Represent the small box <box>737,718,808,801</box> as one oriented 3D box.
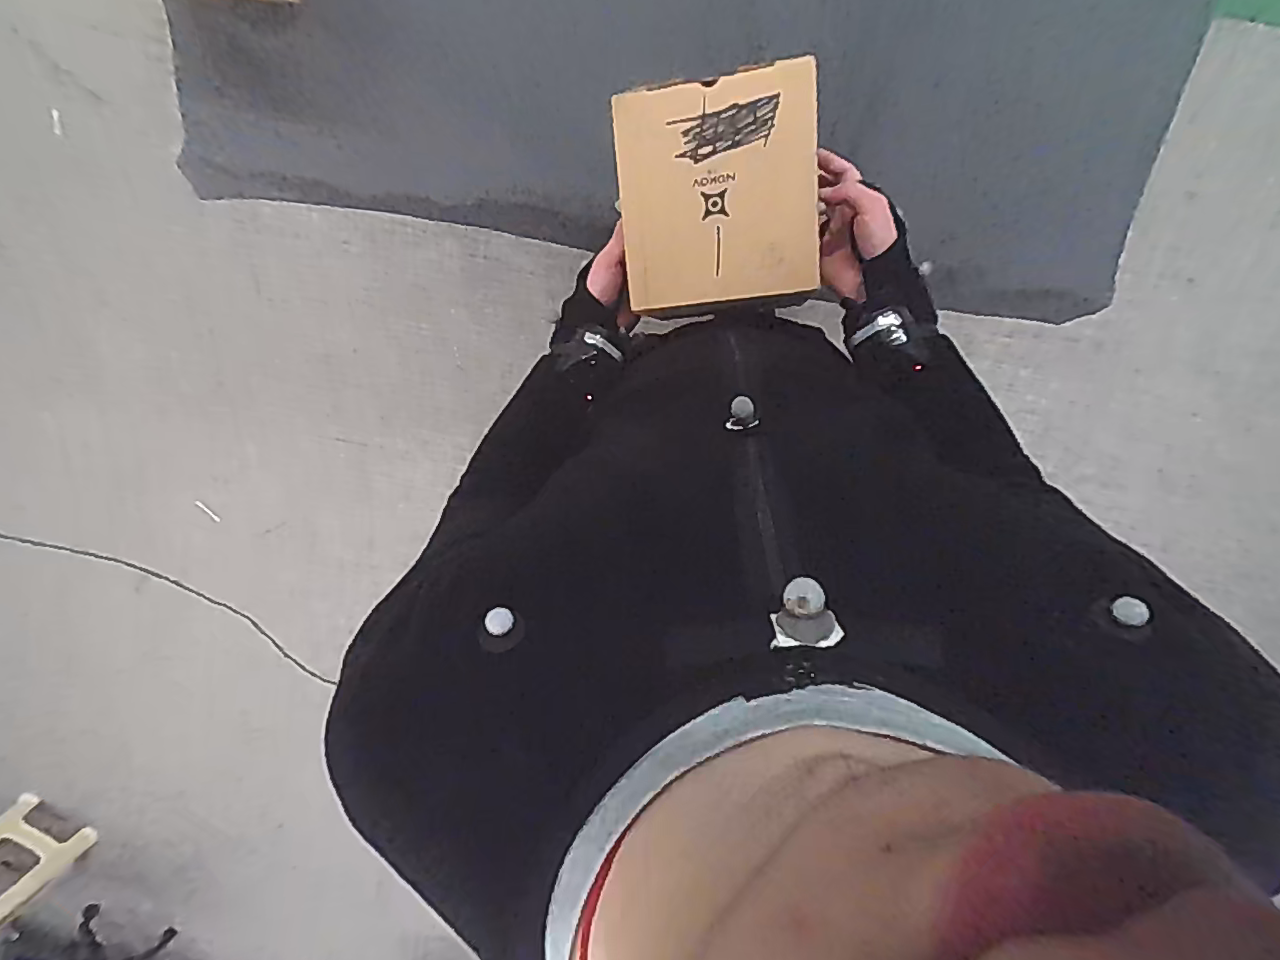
[{"bbox_3d":[0.454,0.968,1.884,0.179,0.176,0.168,22,109,-3],"label":"small box"}]
